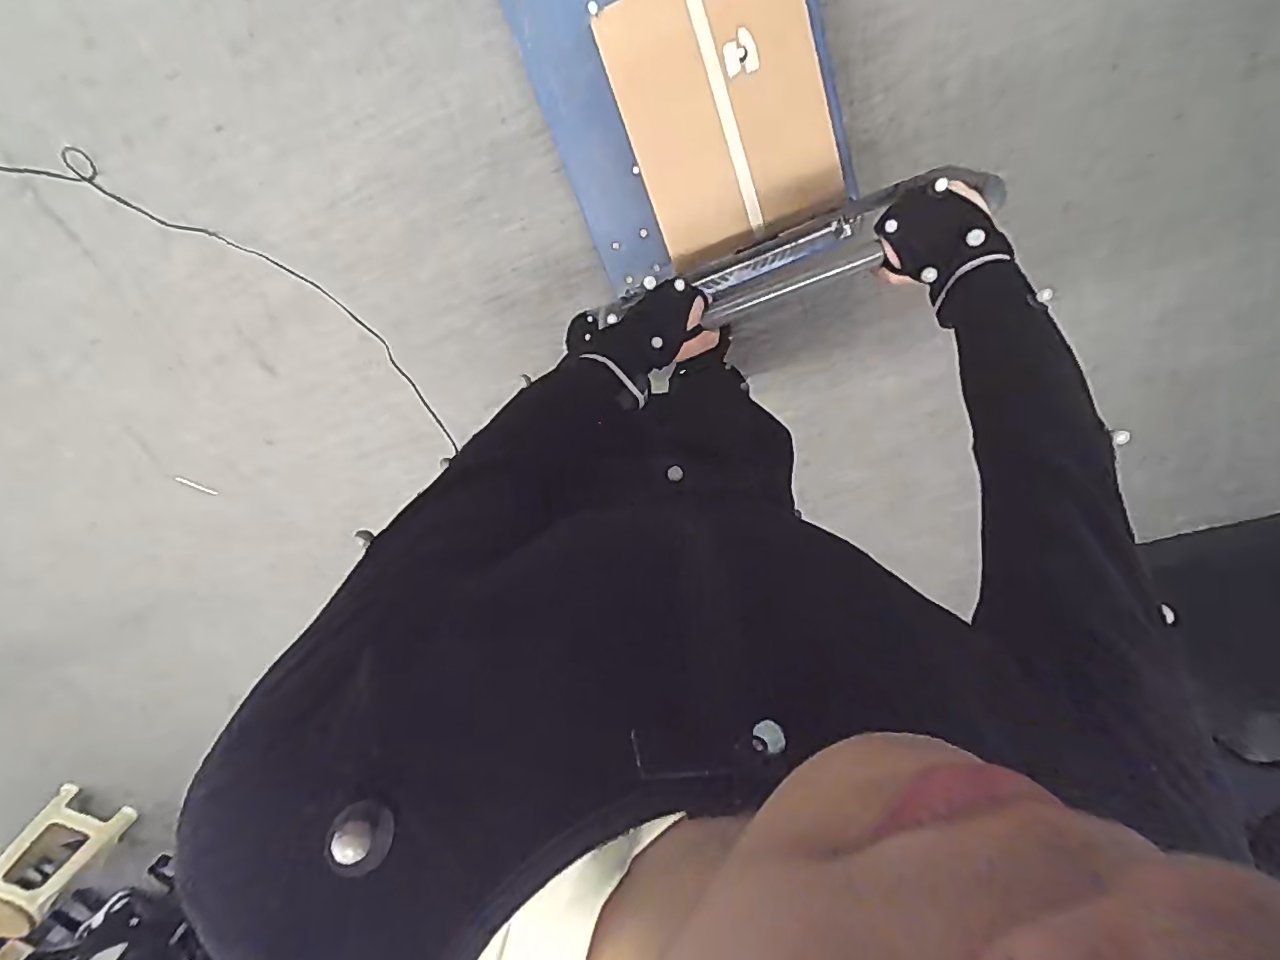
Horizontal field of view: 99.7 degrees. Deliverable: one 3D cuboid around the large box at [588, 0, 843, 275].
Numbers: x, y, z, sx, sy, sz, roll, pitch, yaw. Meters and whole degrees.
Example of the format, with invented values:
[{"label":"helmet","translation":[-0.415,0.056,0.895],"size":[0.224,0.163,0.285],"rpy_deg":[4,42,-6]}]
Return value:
[{"label":"large box","translation":[0.143,-0.649,1.019],"size":[0.320,0.320,0.408],"rpy_deg":[-19,111,11]}]
